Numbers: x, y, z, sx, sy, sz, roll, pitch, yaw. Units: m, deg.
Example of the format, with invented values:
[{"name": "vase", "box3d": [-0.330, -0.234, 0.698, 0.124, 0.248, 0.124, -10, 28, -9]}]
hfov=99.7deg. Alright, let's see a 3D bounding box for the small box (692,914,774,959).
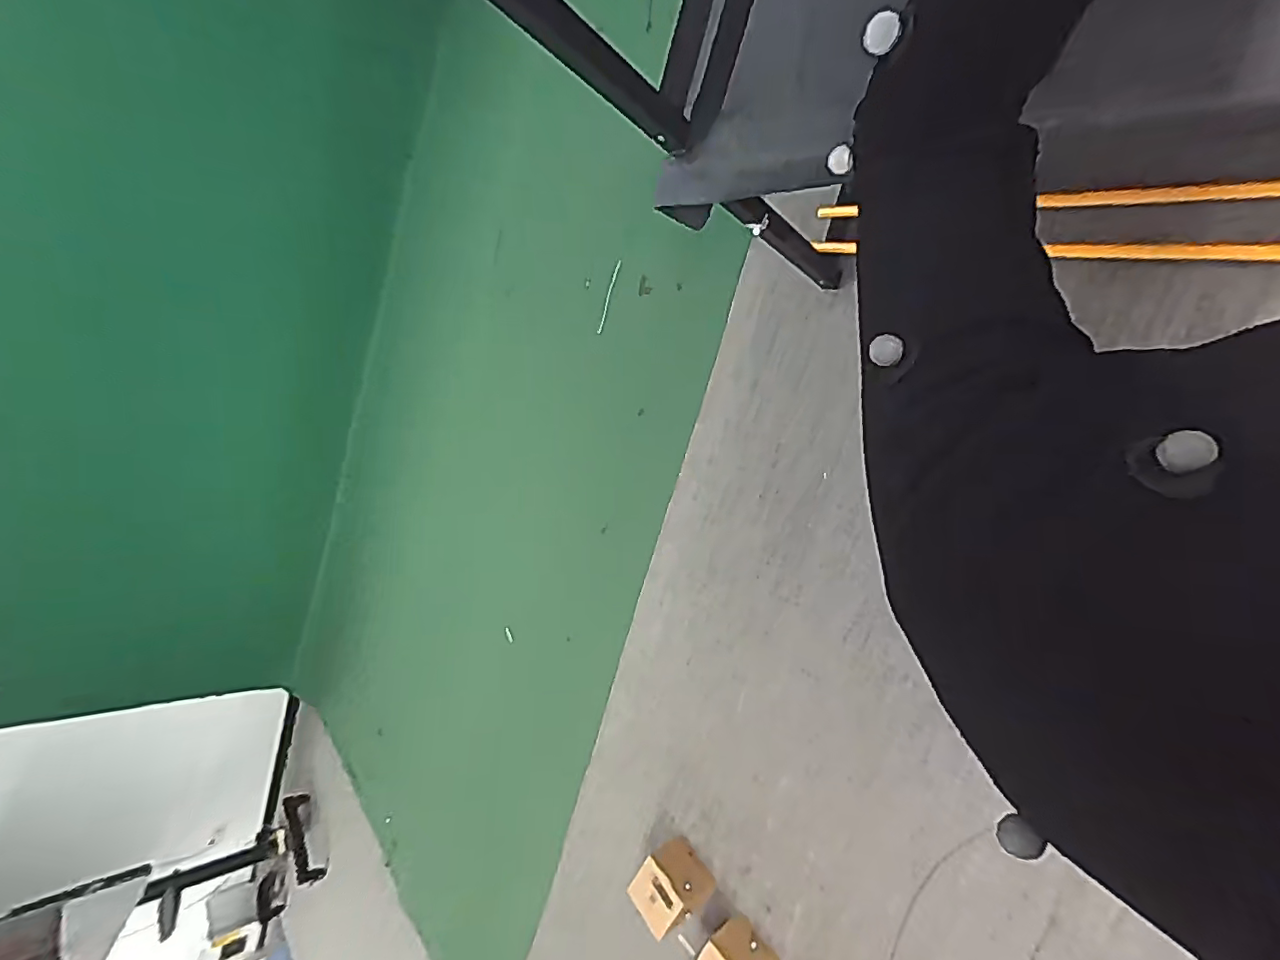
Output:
[{"name": "small box", "box3d": [0.251, 1.394, 1.526, 0.168, 0.176, 0.179, 35, 106, 39]}]
